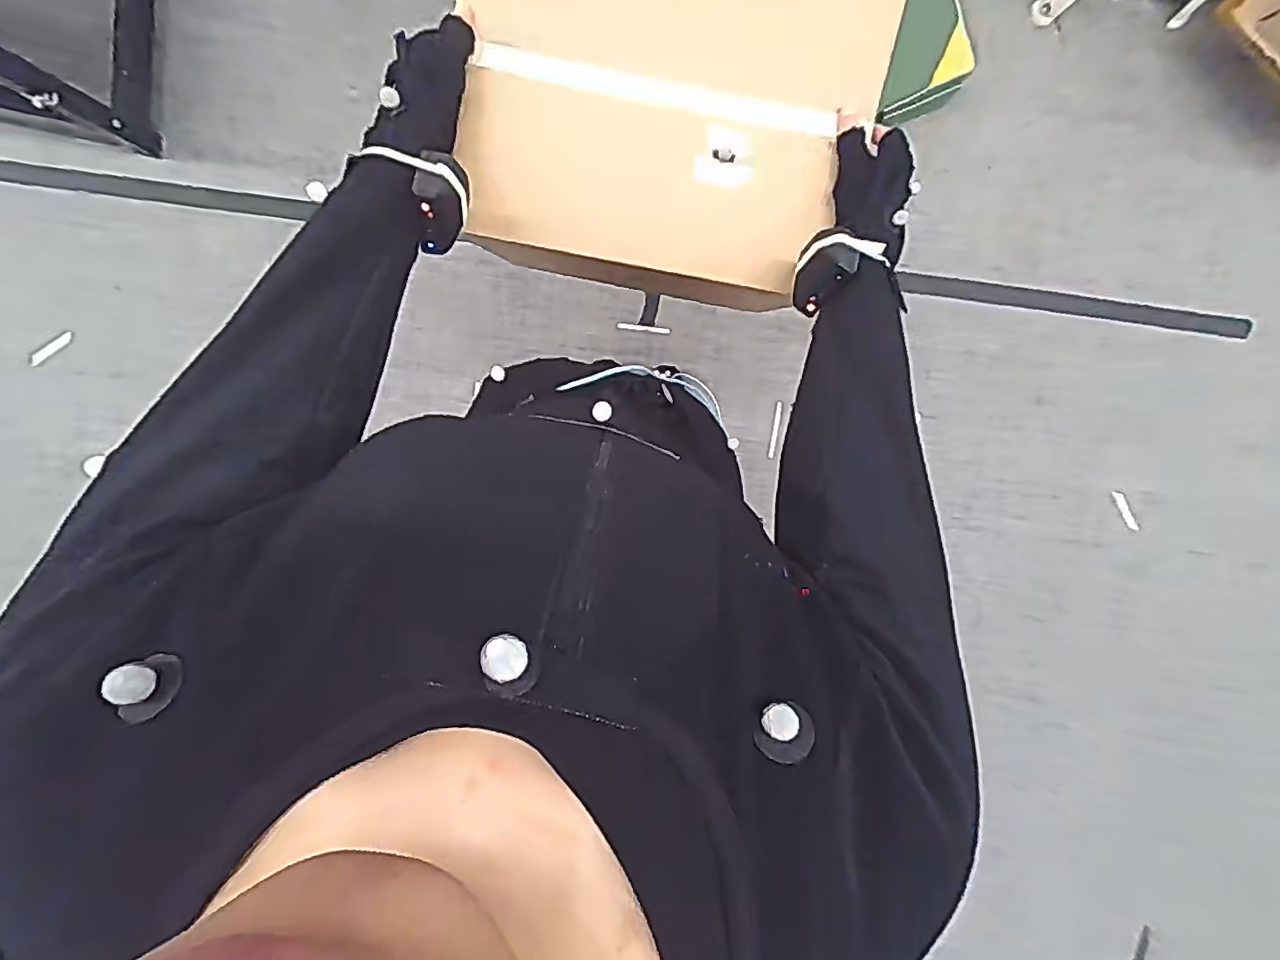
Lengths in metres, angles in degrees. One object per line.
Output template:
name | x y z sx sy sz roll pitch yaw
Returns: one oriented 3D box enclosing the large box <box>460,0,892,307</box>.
large box | 0.023 -0.414 0.683 0.408 0.320 0.320 9 106 -4
